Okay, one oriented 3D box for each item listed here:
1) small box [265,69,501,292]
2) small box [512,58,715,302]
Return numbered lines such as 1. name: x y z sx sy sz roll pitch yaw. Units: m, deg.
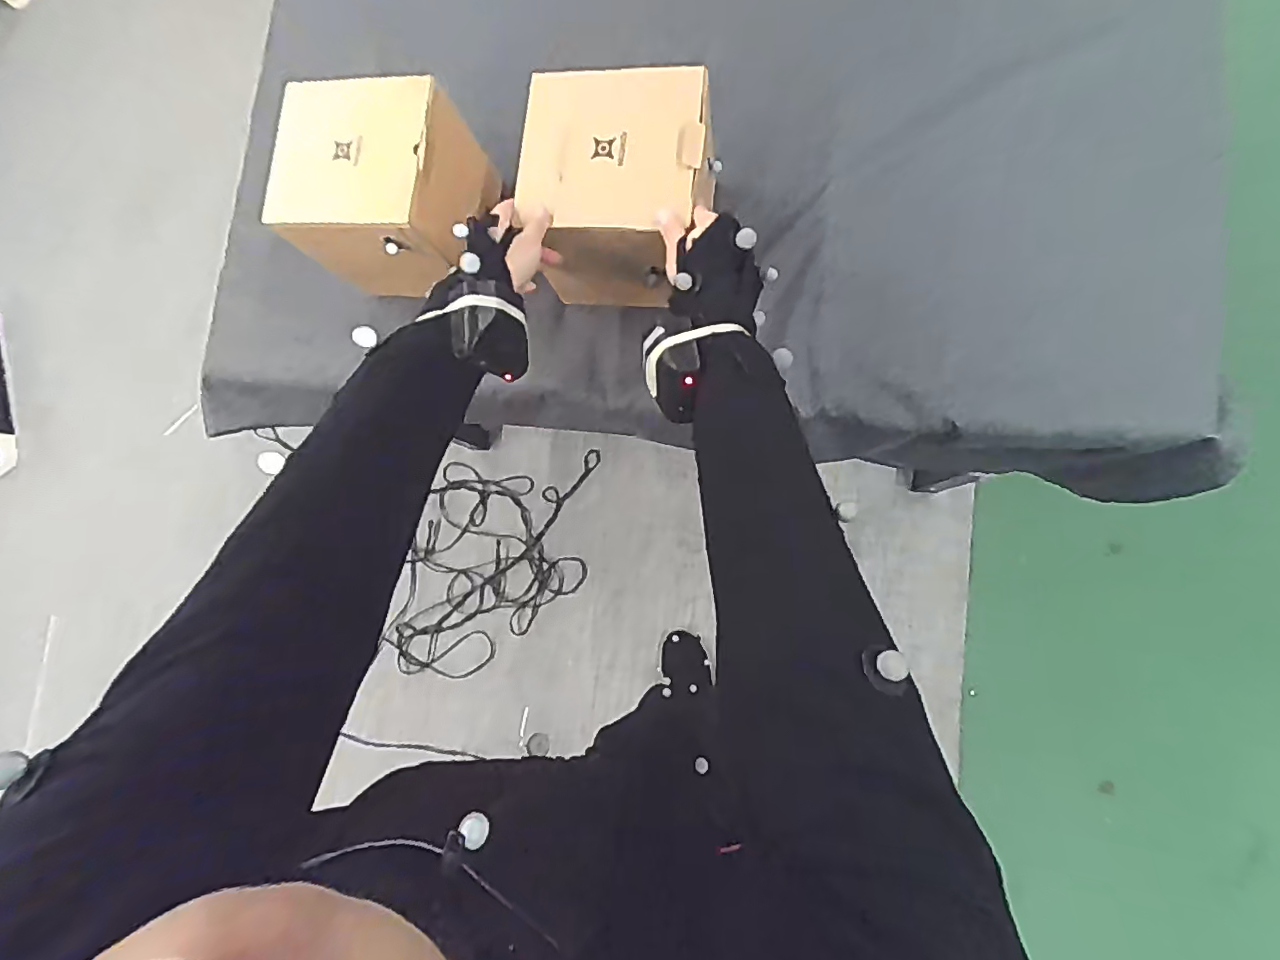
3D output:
1. small box: -0.288 -0.337 0.639 0.179 0.176 0.168 4 84 10
2. small box: -0.015 -0.306 0.585 0.179 0.176 0.168 5 83 12
